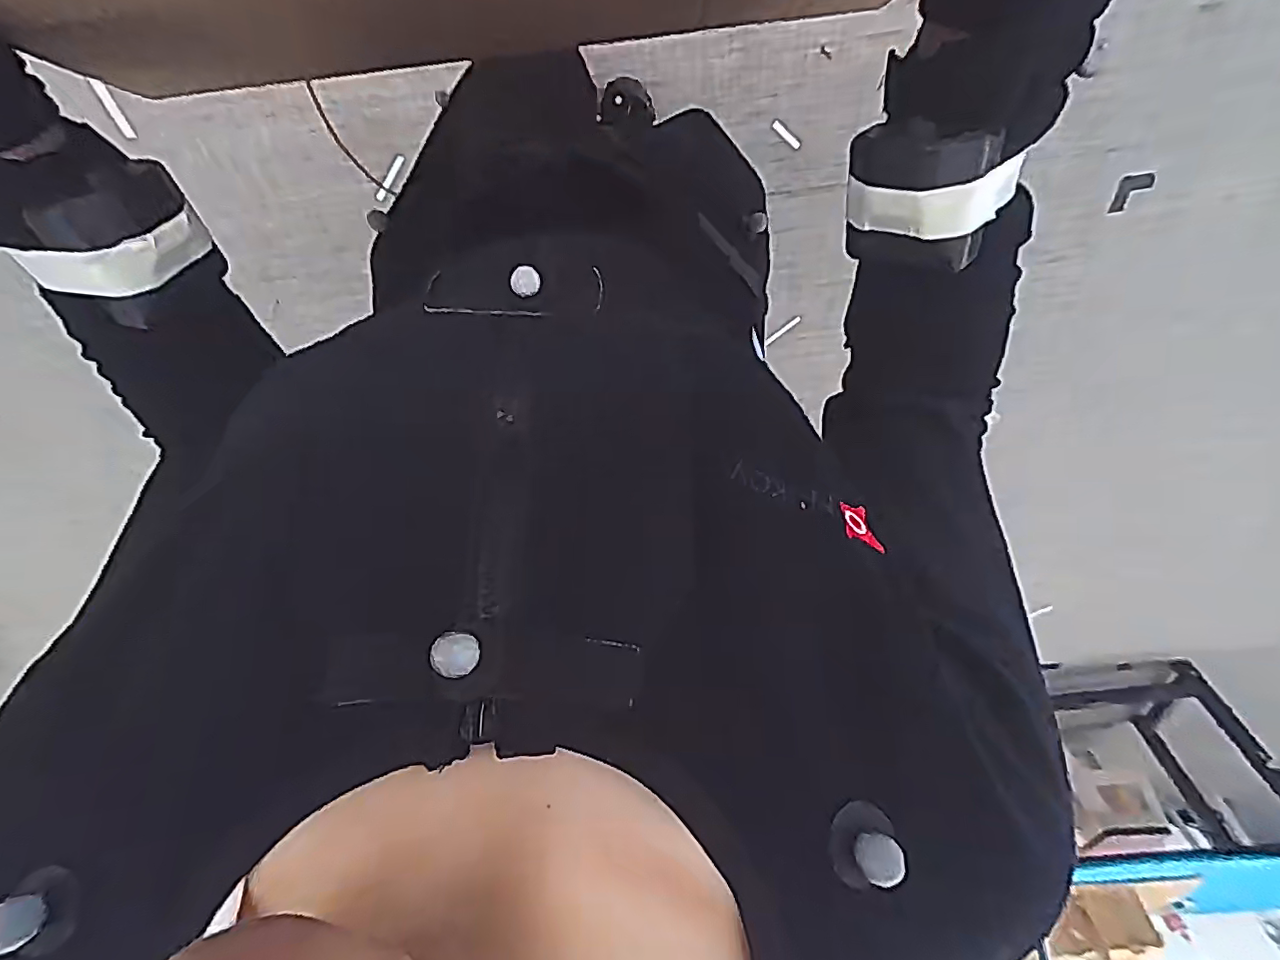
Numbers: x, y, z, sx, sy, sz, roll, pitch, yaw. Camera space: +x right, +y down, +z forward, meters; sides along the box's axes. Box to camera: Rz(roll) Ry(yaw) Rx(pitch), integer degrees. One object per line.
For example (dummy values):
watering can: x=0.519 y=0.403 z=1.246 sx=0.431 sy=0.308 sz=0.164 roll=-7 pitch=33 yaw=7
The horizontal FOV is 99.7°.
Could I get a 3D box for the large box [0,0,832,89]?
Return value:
large box: x=-0.084 y=-0.329 z=0.103 sx=0.408 sy=0.320 sz=0.320 roll=-6 pitch=111 yaw=2
